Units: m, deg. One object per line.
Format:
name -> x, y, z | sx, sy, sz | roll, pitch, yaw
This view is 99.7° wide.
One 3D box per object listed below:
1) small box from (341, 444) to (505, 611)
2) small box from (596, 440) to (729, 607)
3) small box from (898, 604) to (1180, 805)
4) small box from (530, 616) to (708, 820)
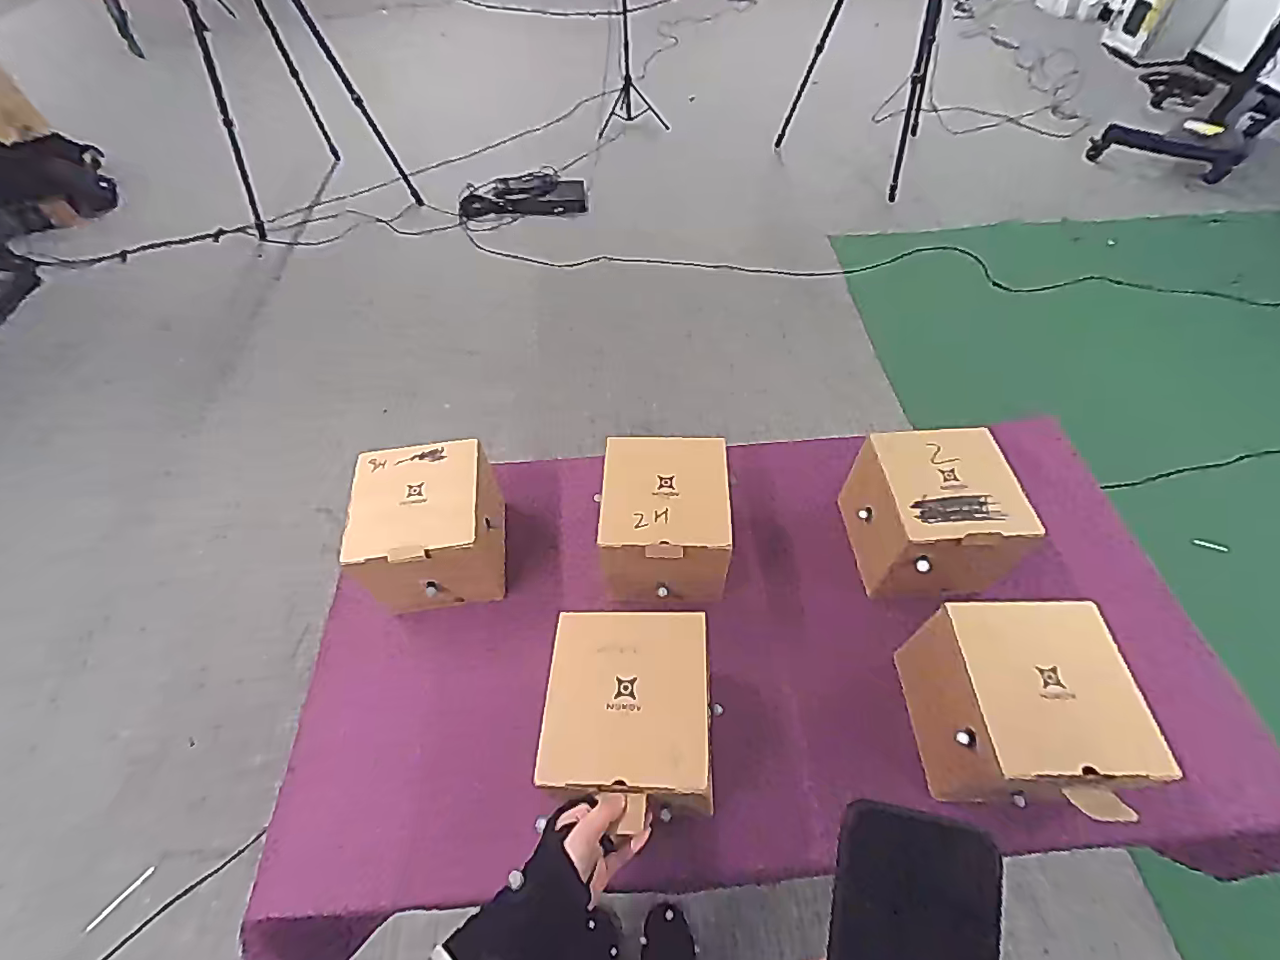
small box -> -0.293, 0.075, 0.772 | 0.168, 0.176, 0.179 | -8, 55, -4
small box -> 0.034, 0.063, 0.768 | 0.168, 0.176, 0.179 | 1, 54, 3
small box -> 0.418, 0.255, 0.611 | 0.168, 0.176, 0.179 | -1, 54, 2
small box -> -0.009, 0.270, 0.608 | 0.168, 0.176, 0.179 | -1, 51, 7
